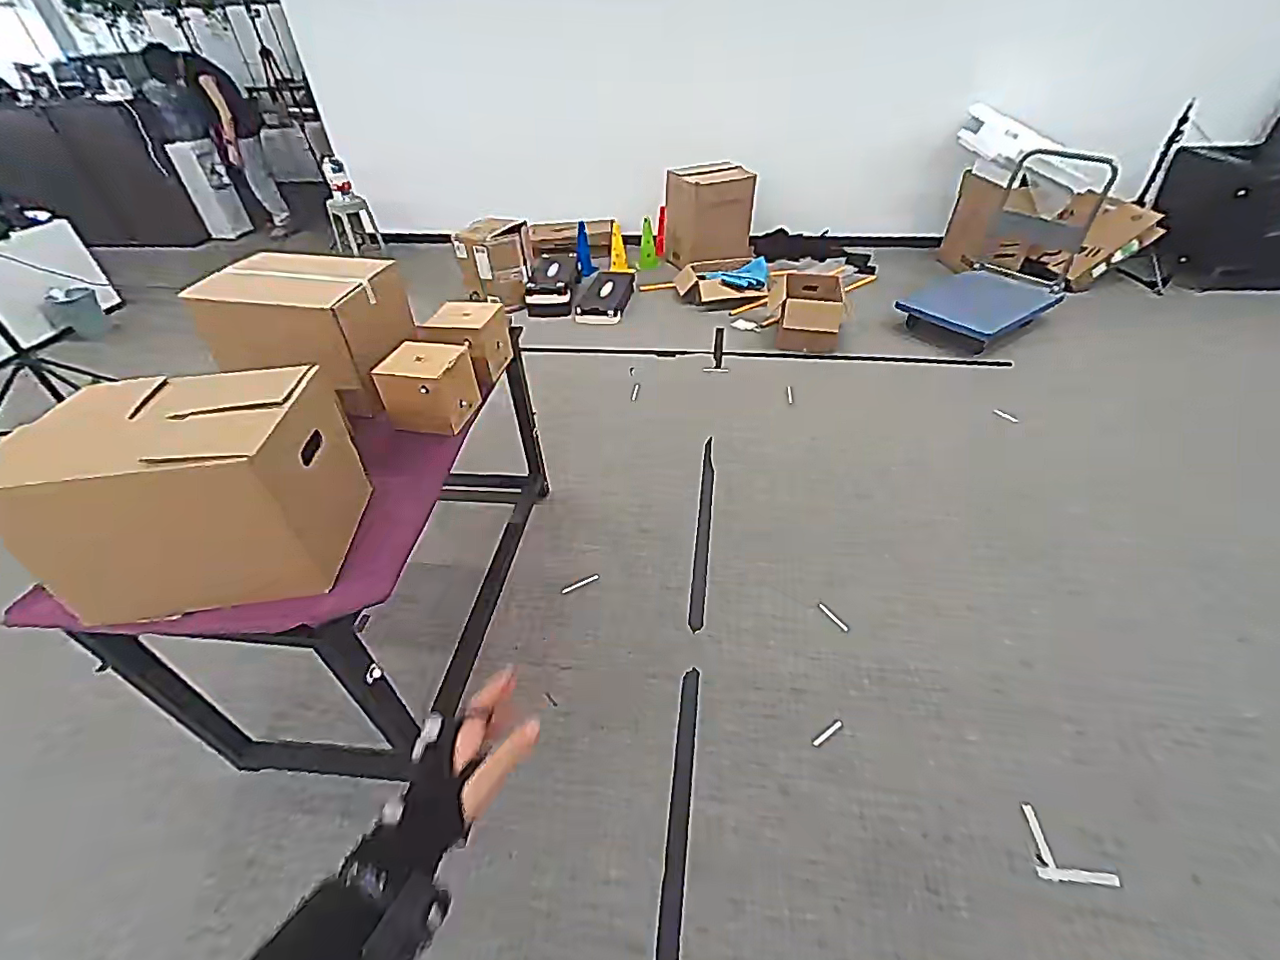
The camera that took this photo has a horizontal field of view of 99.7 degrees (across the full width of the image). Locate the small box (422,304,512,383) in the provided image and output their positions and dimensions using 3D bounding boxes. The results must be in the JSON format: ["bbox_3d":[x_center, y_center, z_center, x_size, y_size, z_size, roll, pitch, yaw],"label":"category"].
[{"bbox_3d":[-0.487,-0.391,1.559,0.179,0.176,0.168,4,40,10],"label":"small box"}]
